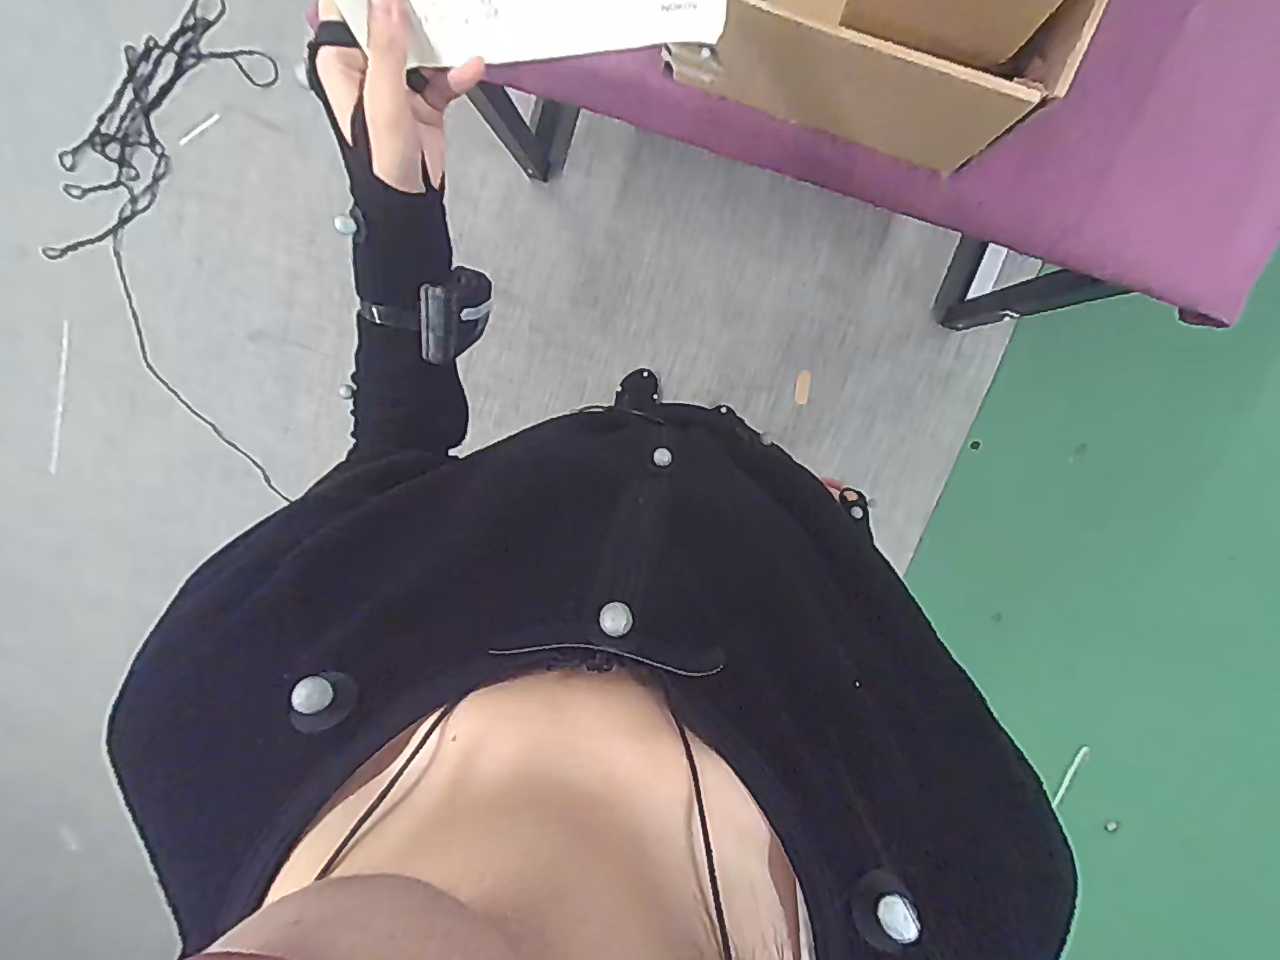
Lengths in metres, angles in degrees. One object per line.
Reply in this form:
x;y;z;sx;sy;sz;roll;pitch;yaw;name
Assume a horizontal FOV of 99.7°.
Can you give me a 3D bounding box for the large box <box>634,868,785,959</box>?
0.183;1.396;1.561;0.408;0.320;0.320;4;100;3;large box
